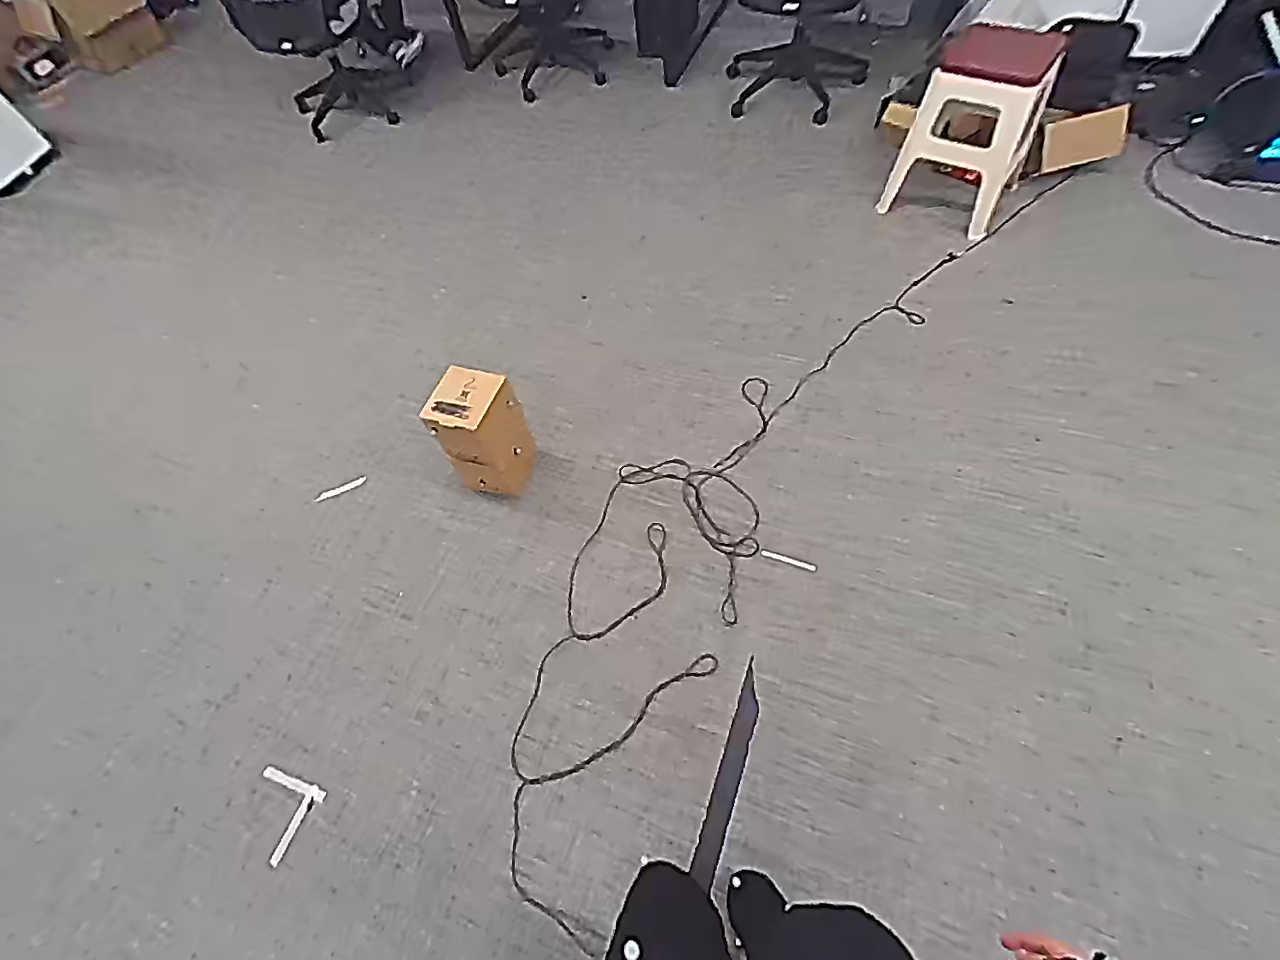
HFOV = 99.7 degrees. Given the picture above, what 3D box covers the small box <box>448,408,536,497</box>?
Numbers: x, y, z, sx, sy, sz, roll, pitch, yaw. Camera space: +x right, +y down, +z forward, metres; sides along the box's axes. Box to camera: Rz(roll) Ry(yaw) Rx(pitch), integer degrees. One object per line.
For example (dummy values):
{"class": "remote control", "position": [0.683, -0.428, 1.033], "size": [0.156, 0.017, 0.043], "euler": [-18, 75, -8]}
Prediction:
{"class": "small box", "position": [-0.413, -0.077, 1.547], "size": [0.168, 0.176, 0.179], "euler": [10, 62, 12]}
